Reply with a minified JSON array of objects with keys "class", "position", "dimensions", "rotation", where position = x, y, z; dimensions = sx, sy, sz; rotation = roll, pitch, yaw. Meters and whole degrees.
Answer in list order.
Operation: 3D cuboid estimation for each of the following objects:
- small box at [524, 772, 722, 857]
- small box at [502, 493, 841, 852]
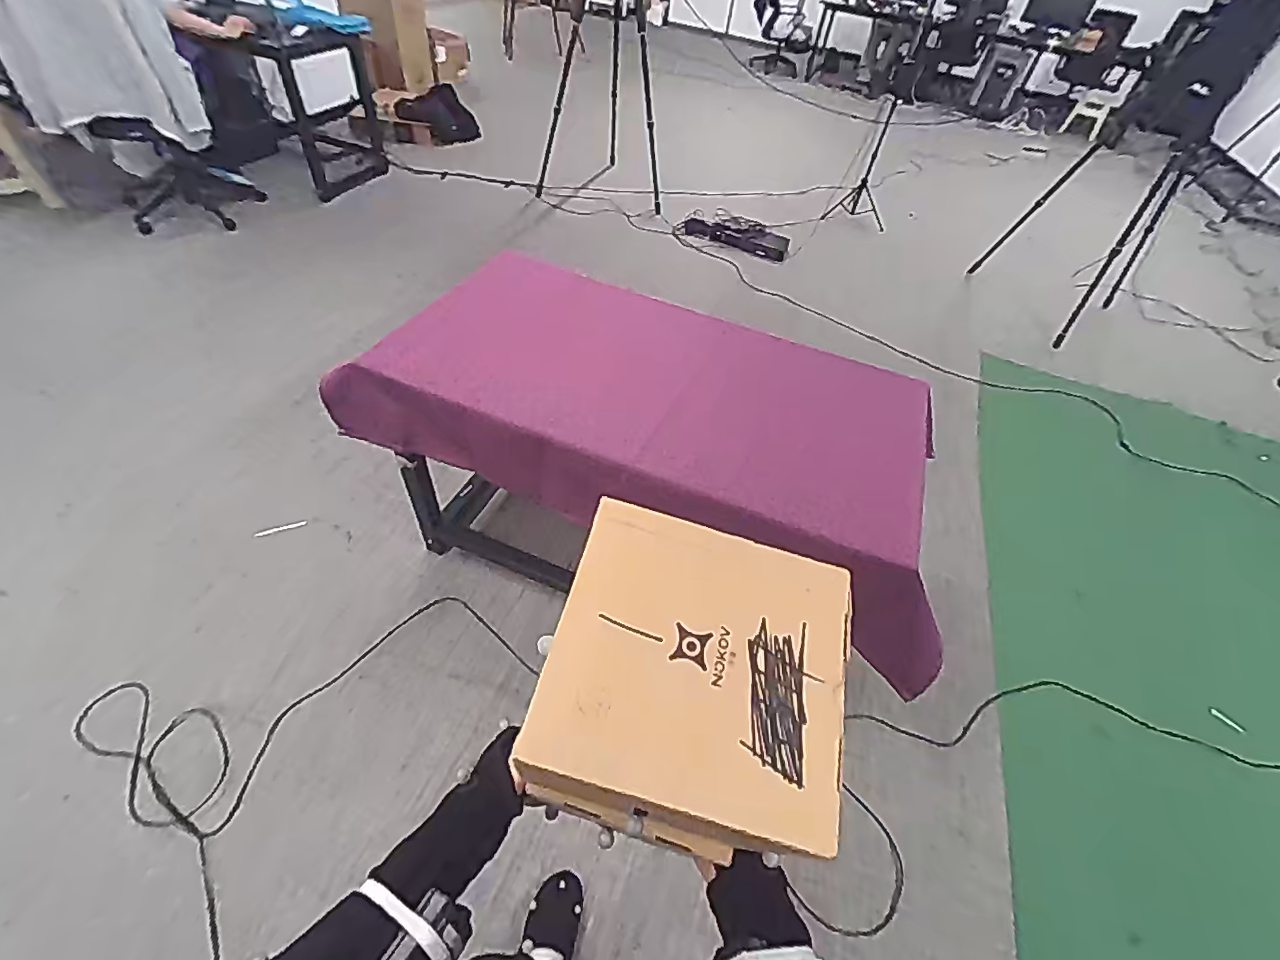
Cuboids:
[{"class":"small box","position":[-0.004,0.231,0.522],"dimensions":[0.168,0.176,0.179],"rotation":[20,57,2]},{"class":"small box","position":[0.019,0.140,0.387],"dimensions":[0.179,0.176,0.168],"rotation":[18,56,1]}]
